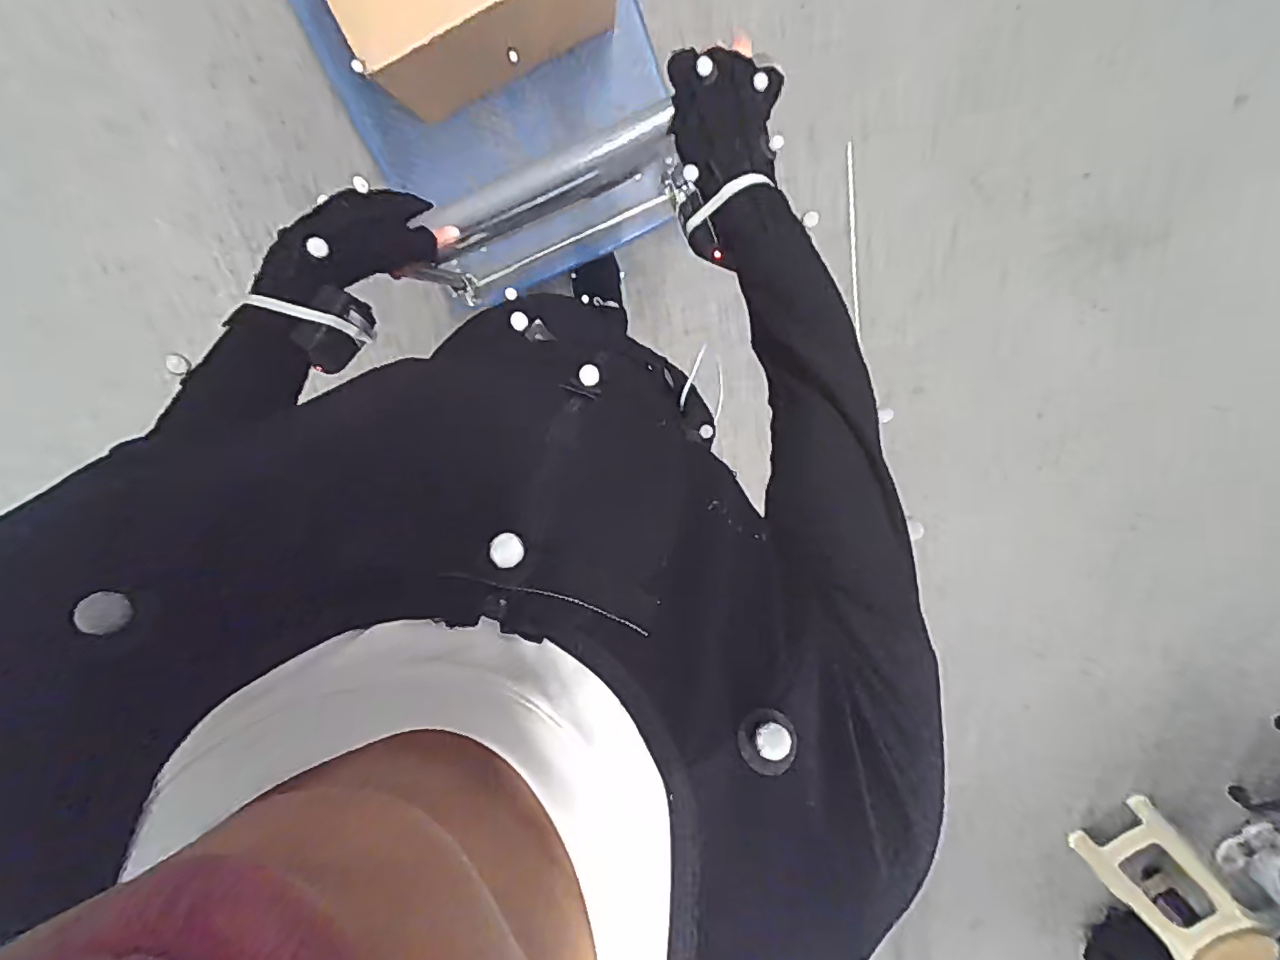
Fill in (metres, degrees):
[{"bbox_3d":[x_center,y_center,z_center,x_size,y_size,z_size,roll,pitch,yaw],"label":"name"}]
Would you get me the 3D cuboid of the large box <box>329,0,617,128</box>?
[{"bbox_3d":[-0.277,-0.832,0.840,0.408,0.320,0.320,-25,111,5],"label":"large box"}]
